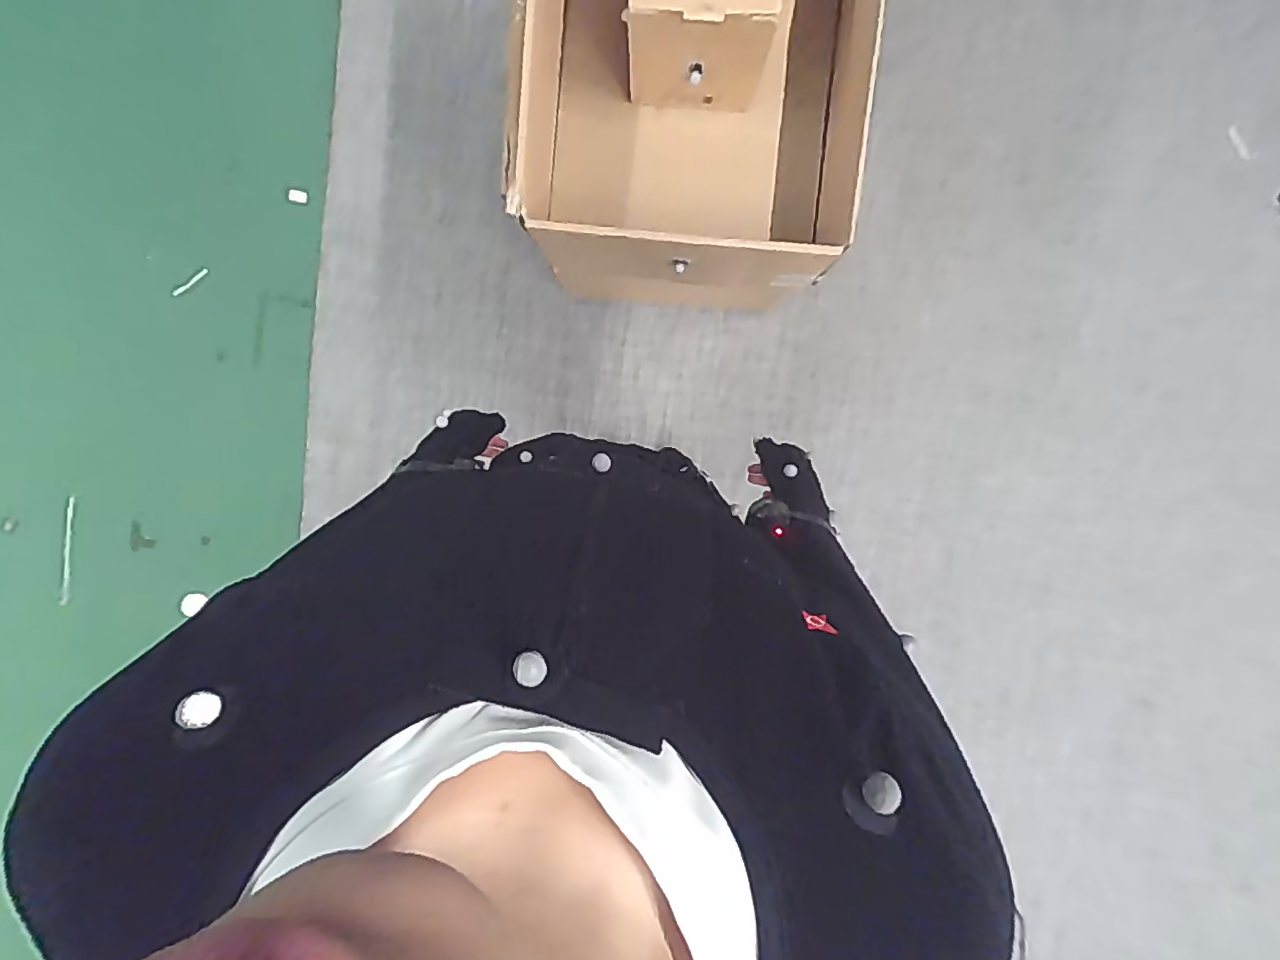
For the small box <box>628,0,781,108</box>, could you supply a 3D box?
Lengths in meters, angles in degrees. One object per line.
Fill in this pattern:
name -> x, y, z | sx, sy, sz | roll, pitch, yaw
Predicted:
small box -> 0.078, -0.586, 0.649 | 0.168, 0.176, 0.179 | 5, 95, 0
